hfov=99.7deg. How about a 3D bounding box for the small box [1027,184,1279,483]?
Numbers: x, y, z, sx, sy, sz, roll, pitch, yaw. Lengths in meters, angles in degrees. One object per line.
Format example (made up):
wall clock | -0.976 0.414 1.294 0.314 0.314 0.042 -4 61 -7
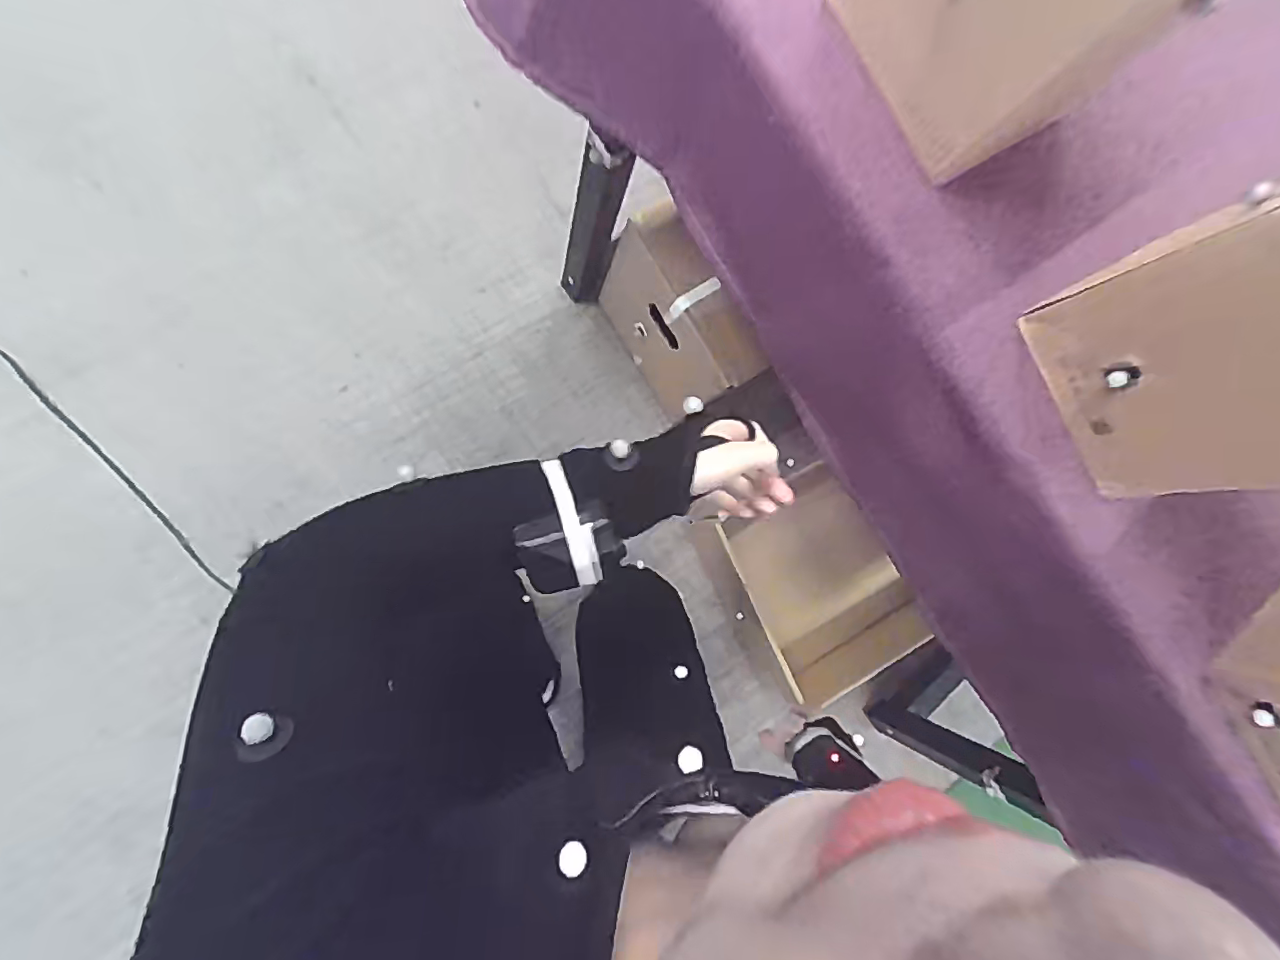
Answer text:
small box | 0.435 -0.109 0.385 0.179 0.176 0.168 -28 92 -12

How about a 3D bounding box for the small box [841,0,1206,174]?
small box | 0.272 -0.358 0.365 0.168 0.176 0.179 -33 92 -12
